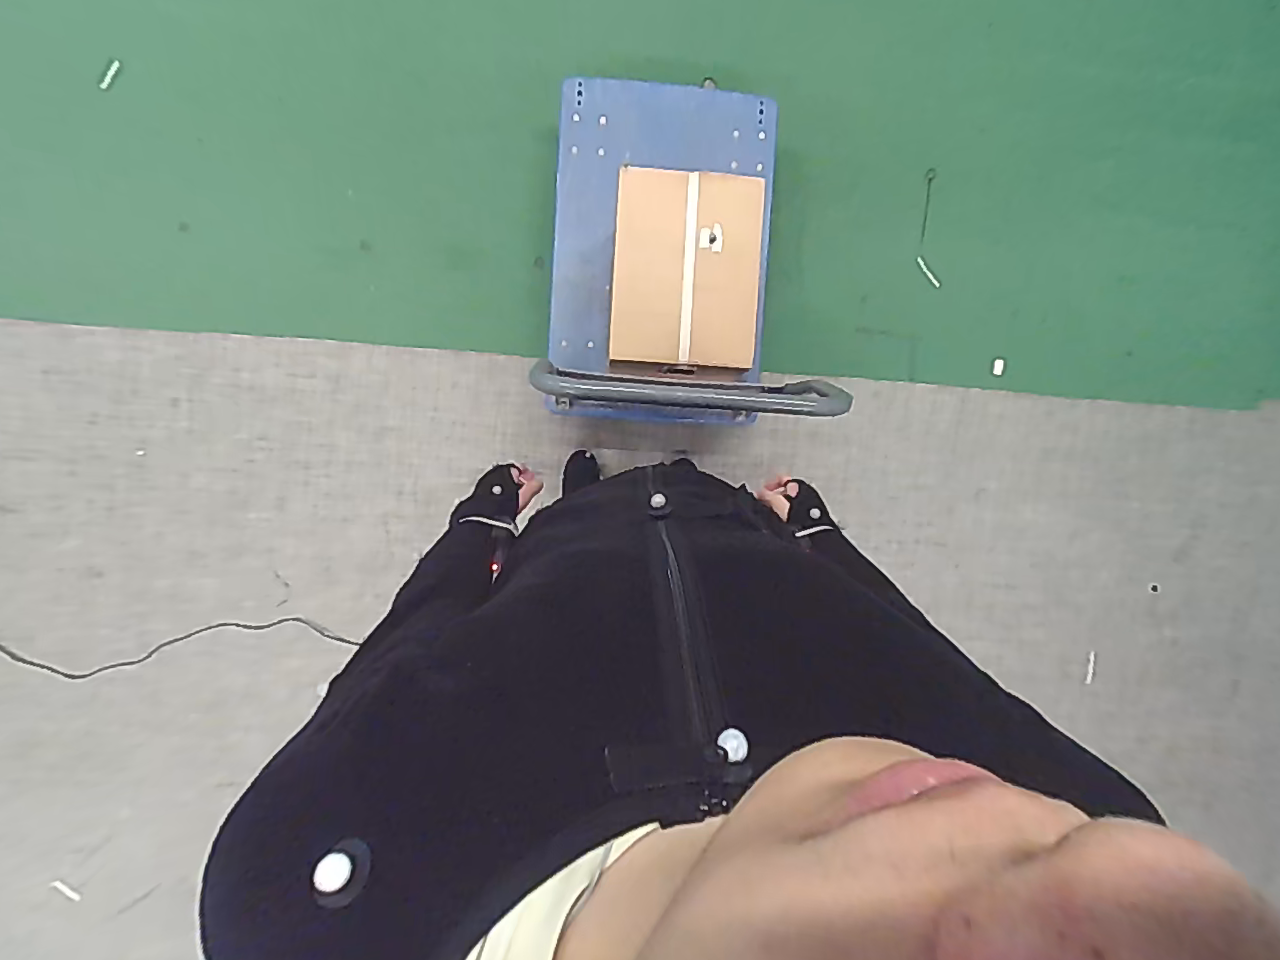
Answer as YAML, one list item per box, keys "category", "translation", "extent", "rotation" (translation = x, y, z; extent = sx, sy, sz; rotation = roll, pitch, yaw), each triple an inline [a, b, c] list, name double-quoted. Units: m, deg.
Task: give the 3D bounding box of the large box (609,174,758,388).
- category: "large box"
  translation: [0.085, -0.444, 1.297]
  extent: [0.320, 0.320, 0.408]
  rotation: [2, 91, -5]
